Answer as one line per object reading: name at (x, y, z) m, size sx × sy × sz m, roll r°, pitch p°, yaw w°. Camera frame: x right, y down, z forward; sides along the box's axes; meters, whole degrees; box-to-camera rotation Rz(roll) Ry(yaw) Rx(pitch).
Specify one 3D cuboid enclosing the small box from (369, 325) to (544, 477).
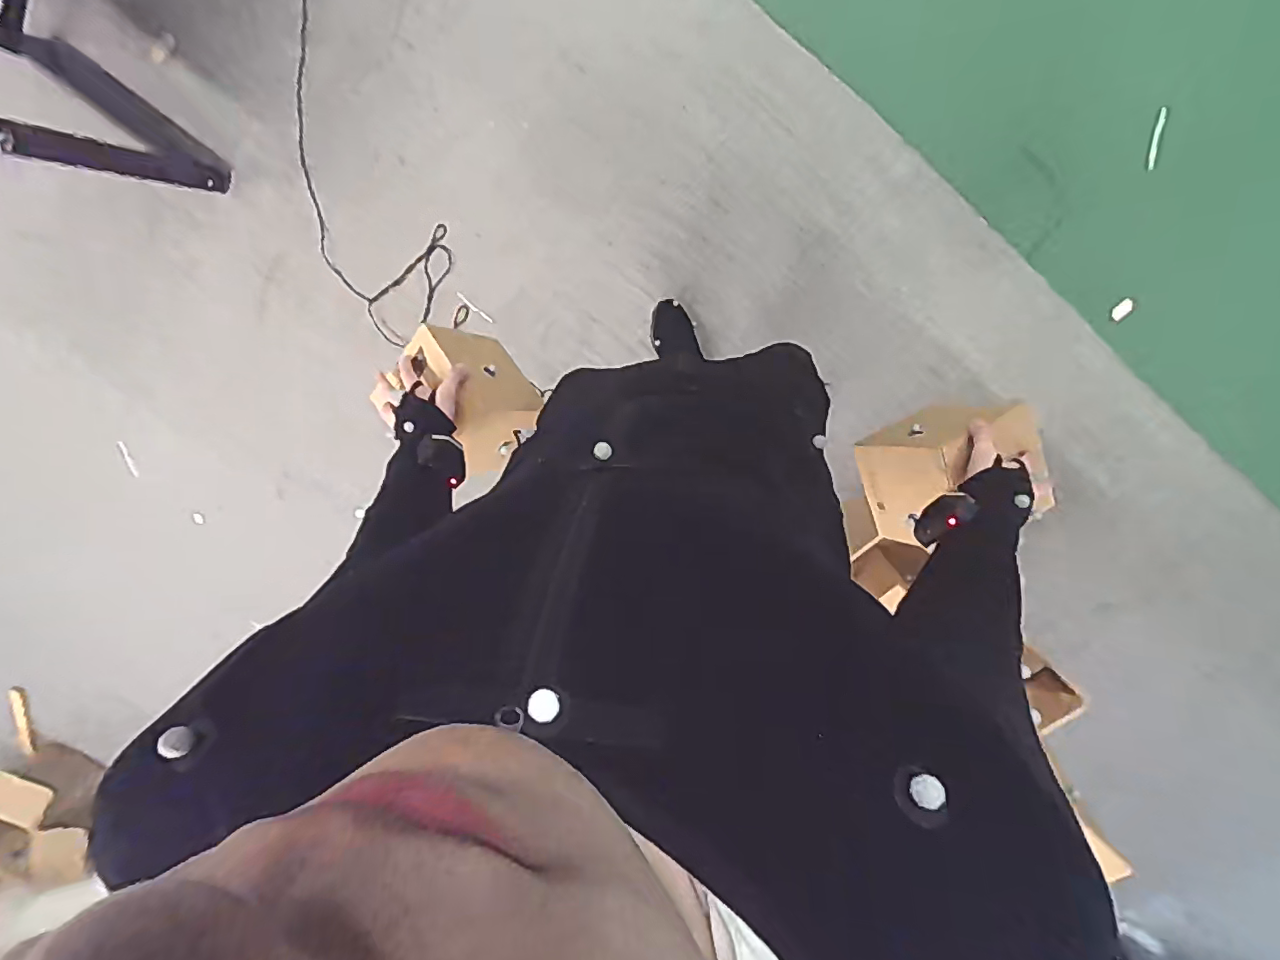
small box at (-0.297, -0.124, 0.891) m, size 0.168 × 0.176 × 0.179 m, roll -44°, pitch 77°, yaw 23°

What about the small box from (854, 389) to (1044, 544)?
small box at (0.452, -0.024, 0.816) m, size 0.179 × 0.176 × 0.168 m, roll -26°, pitch 103°, yaw -16°
